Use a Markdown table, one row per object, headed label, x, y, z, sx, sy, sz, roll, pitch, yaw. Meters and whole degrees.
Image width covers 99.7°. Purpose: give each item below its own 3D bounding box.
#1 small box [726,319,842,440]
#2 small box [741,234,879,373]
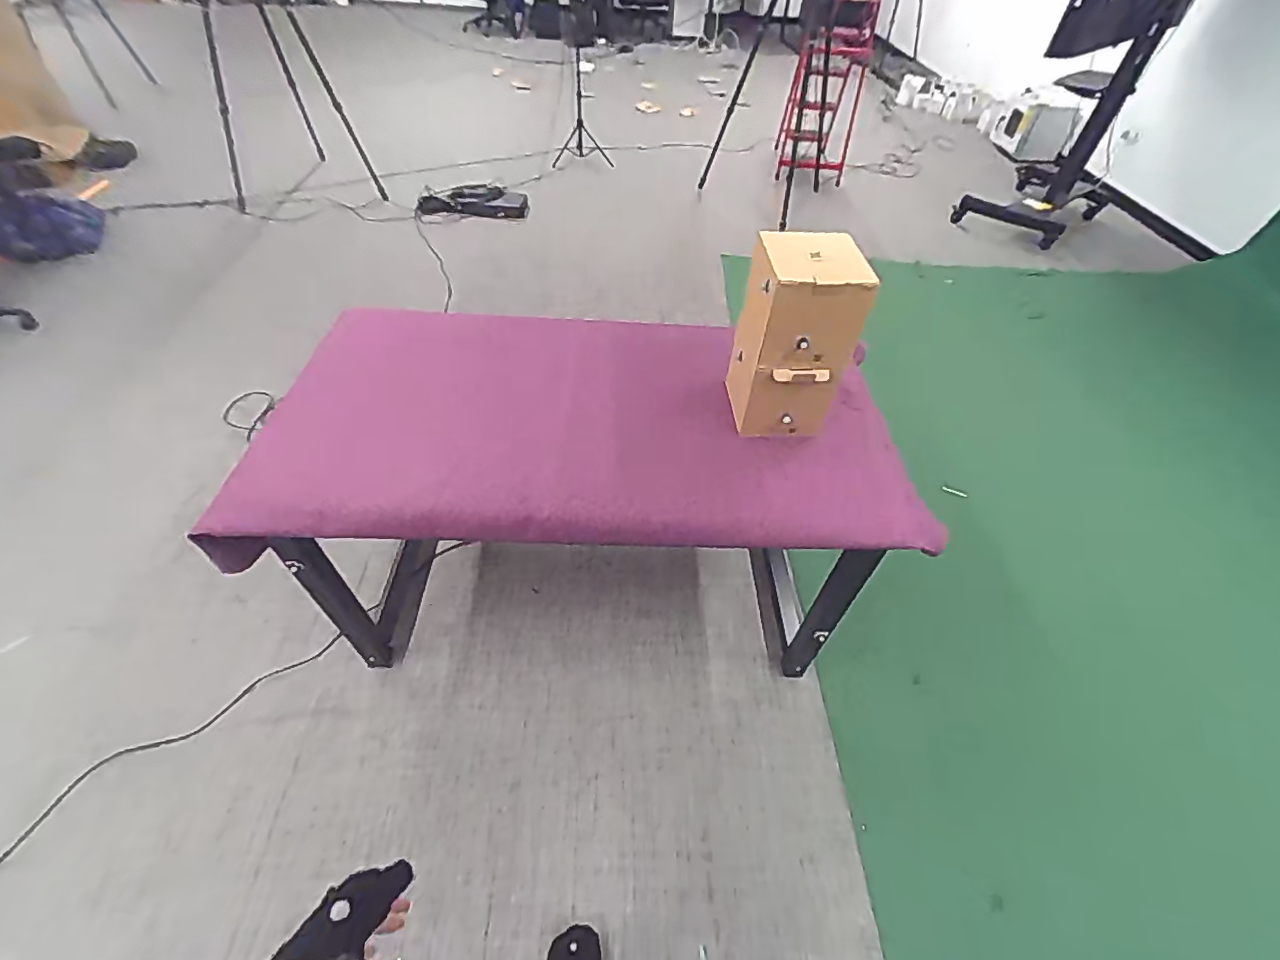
| label | x | y | z | sx | sy | sz | roll | pitch | yaw |
| --- | --- | --- | --- | --- | --- | --- | --- | --- | --- |
| small box | 0.273 | -0.199 | 1.074 | 0.168 | 0.176 | 0.179 | -1 | 49 | -4 |
| small box | 0.285 | -0.310 | 0.954 | 0.168 | 0.176 | 0.179 | 0 | 49 | -4 |
